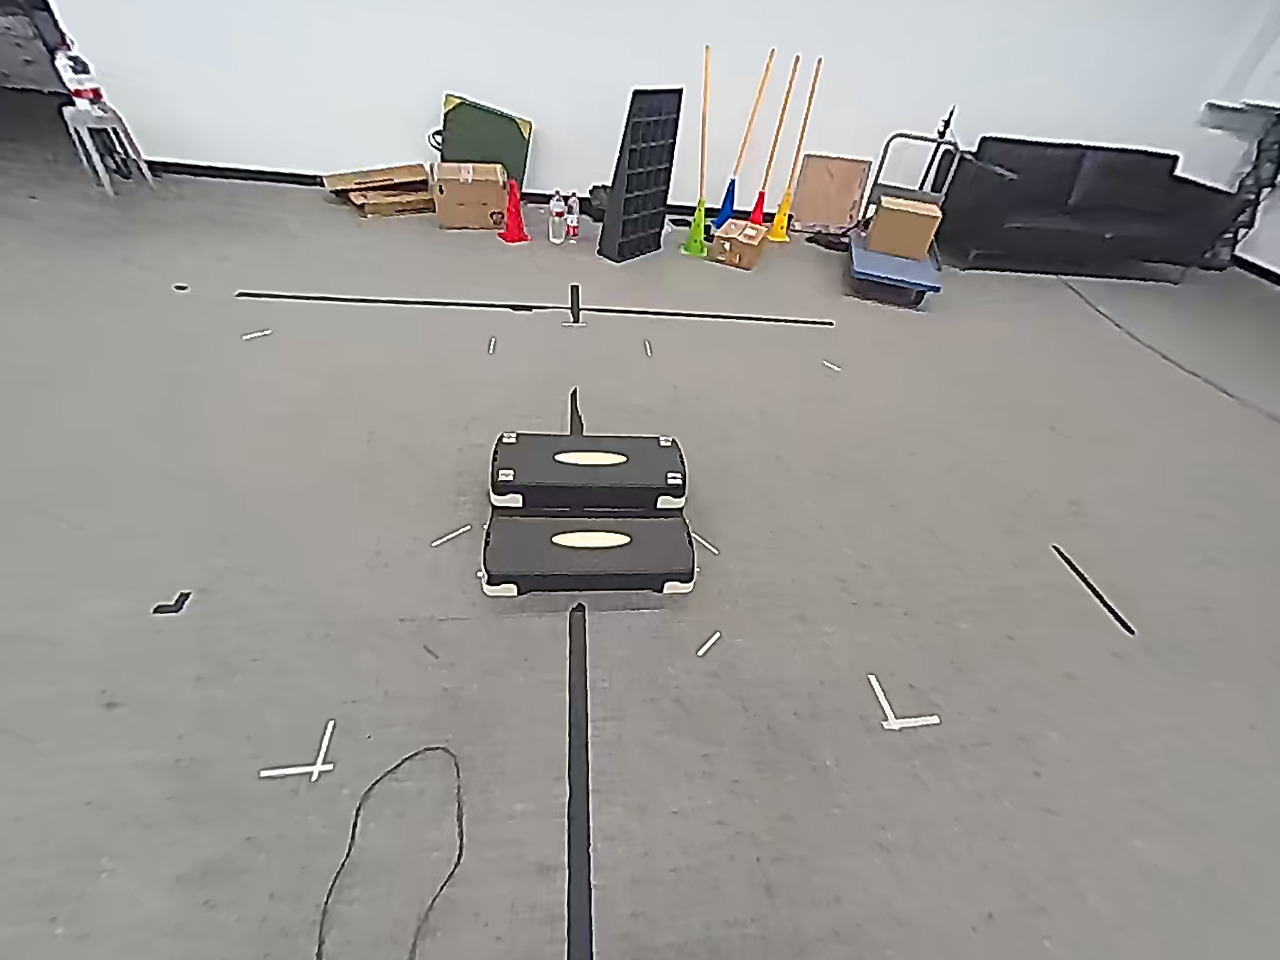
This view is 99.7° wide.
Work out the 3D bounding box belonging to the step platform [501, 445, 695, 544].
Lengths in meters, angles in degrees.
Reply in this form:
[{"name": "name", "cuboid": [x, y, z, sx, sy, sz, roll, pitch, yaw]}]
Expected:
[{"name": "step platform", "cuboid": [-0.145, 0.048, 1.945, 0.684, 0.204, 0.286, 4, 41, -5]}]
